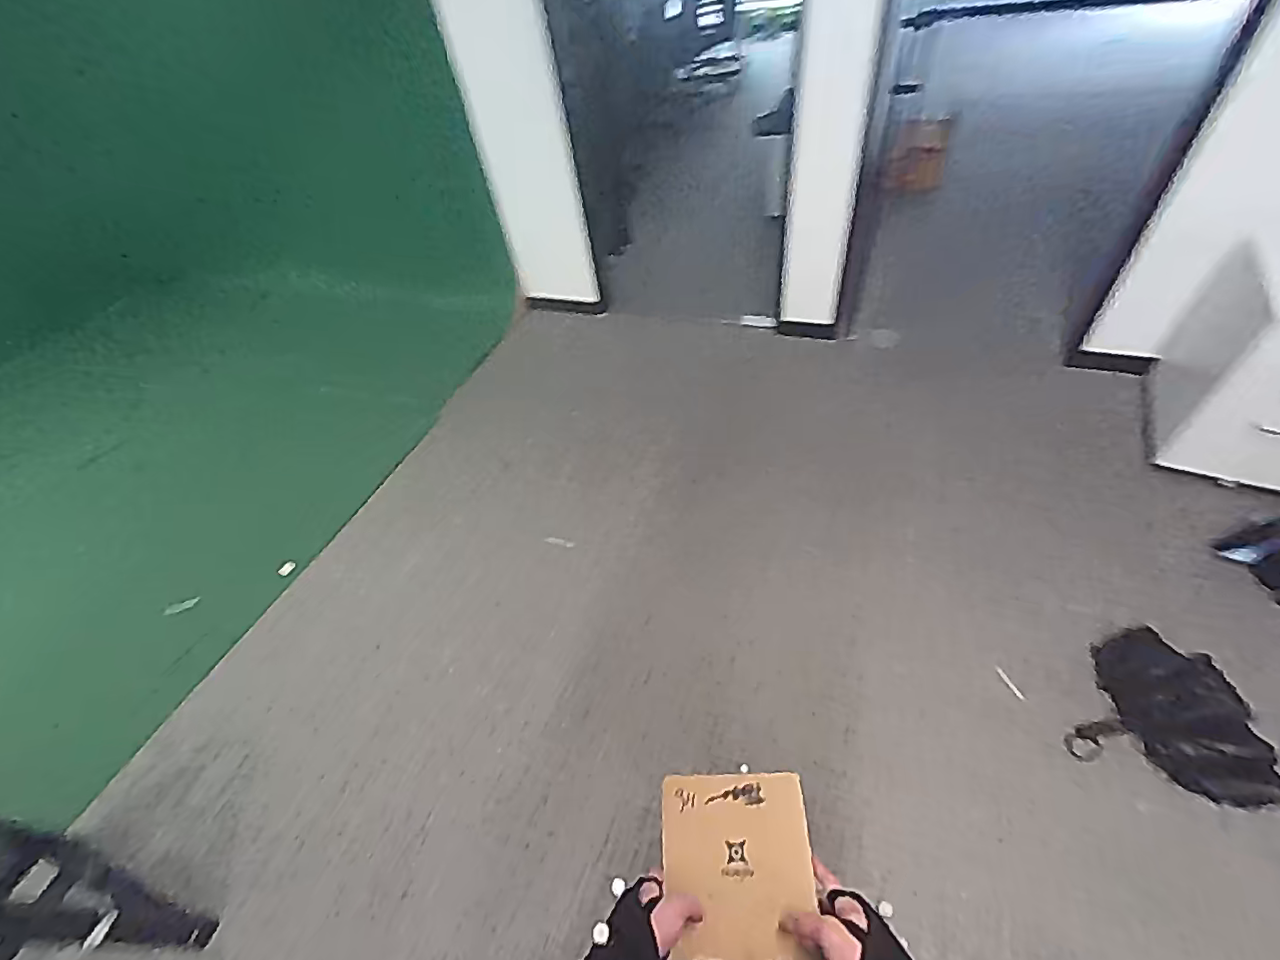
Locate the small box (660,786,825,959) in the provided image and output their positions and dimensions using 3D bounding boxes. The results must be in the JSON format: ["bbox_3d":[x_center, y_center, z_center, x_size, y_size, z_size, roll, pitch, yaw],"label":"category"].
[{"bbox_3d":[0.118,0.475,0.643,0.168,0.176,0.179,-6,53,8],"label":"small box"}]
